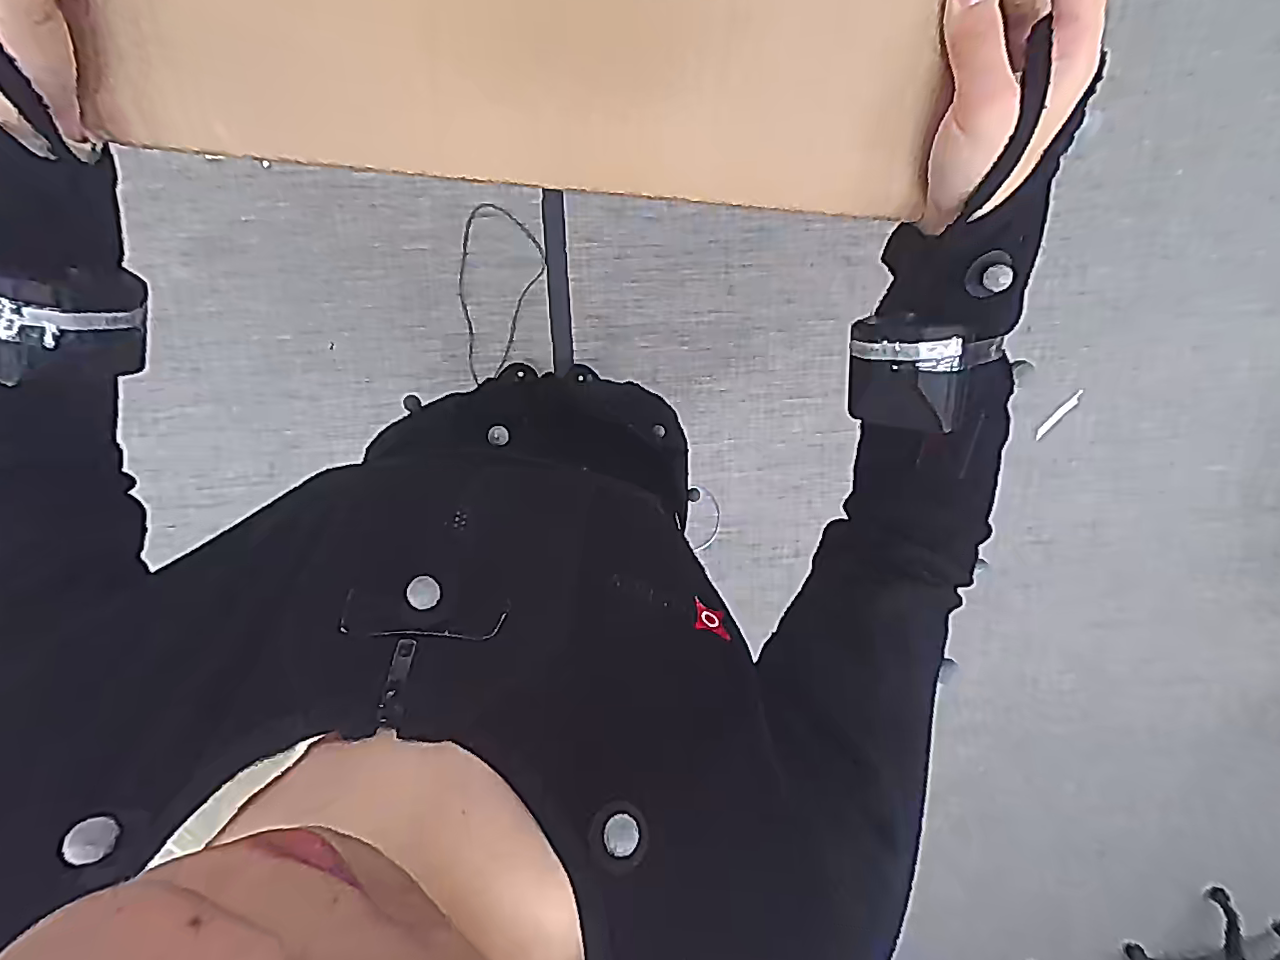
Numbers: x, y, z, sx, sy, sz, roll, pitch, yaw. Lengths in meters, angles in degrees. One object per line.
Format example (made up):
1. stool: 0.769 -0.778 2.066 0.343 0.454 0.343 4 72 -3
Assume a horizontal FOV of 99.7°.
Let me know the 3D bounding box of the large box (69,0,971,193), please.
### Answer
1. large box: -0.047 -0.369 0.314 0.408 0.320 0.320 3 124 -4
